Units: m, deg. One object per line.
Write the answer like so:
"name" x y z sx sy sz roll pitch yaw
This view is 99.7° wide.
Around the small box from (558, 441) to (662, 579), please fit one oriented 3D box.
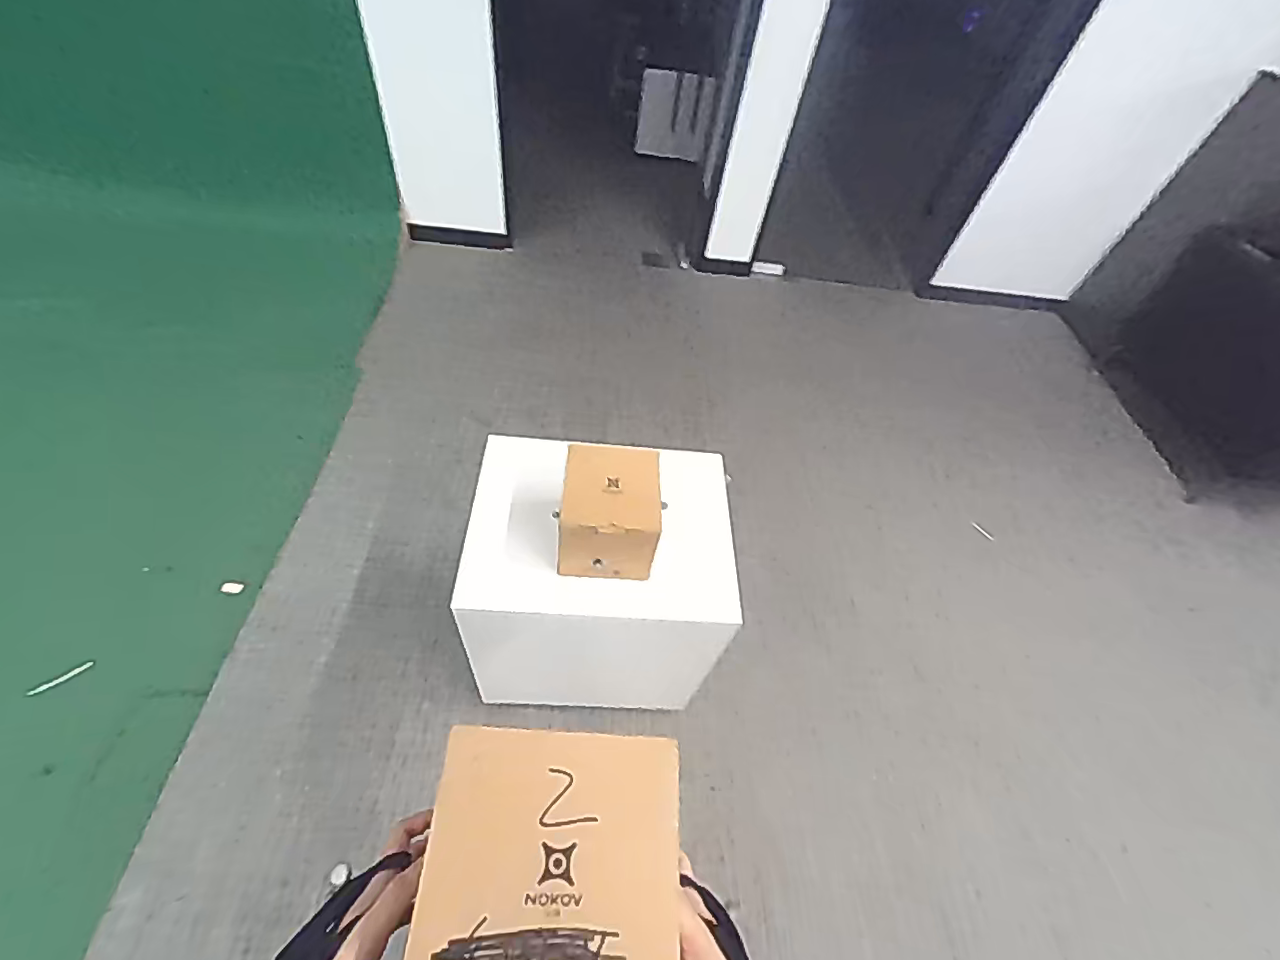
"small box" -0.056 0.055 0.962 0.168 0.176 0.179 4 51 -6
